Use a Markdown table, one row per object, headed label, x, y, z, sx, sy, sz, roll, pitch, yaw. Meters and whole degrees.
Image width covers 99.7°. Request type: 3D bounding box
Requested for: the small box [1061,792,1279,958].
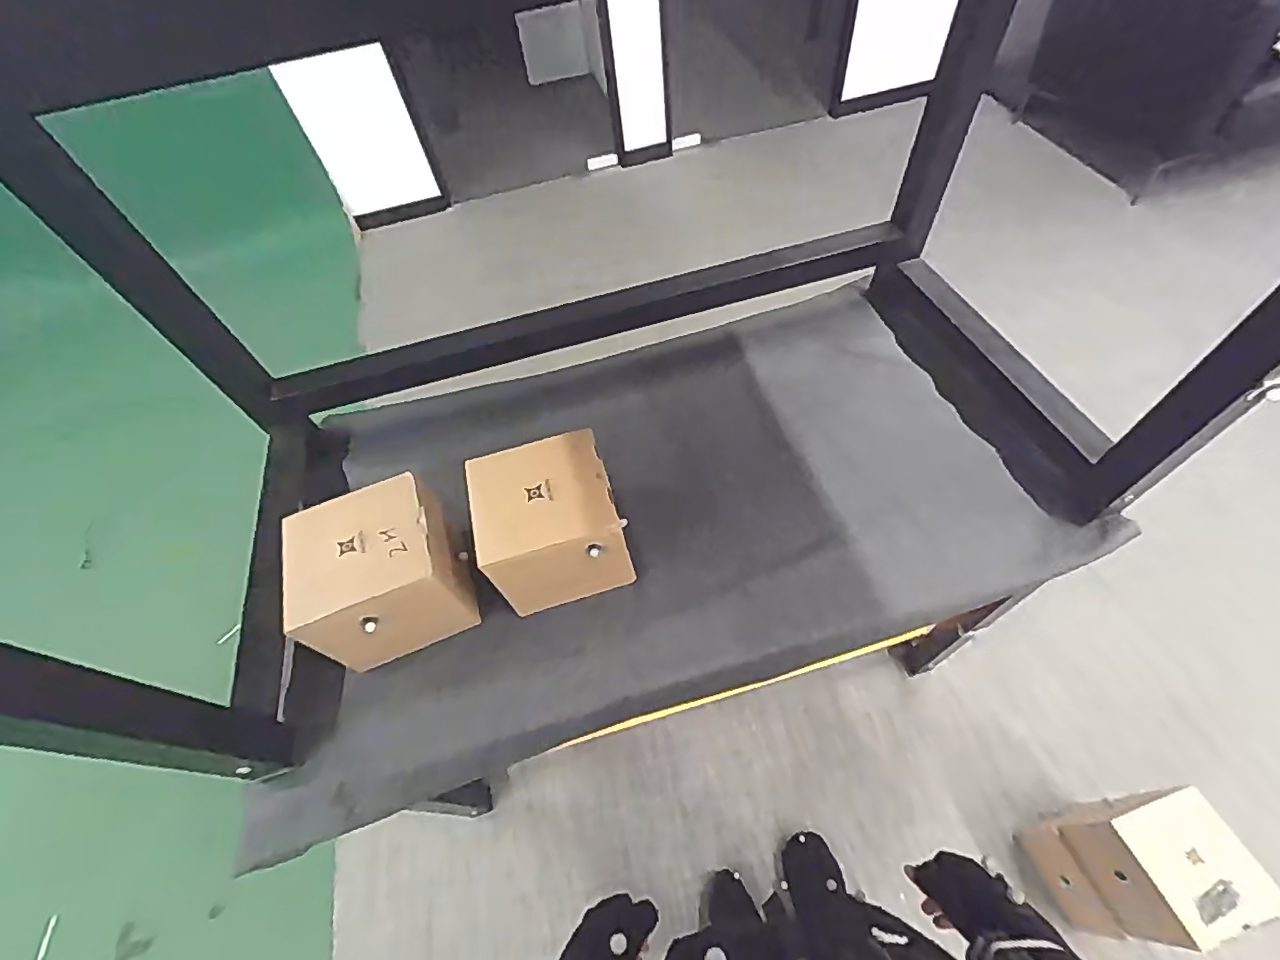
| label | x | y | z | sx | sy | sz | roll | pitch | yaw |
| --- | --- | --- | --- | --- | --- | --- | --- | --- | --- |
| small box | 0.875 | 0.651 | 0.907 | 0.168 | 0.176 | 0.179 | -18 | 54 | -5 |
